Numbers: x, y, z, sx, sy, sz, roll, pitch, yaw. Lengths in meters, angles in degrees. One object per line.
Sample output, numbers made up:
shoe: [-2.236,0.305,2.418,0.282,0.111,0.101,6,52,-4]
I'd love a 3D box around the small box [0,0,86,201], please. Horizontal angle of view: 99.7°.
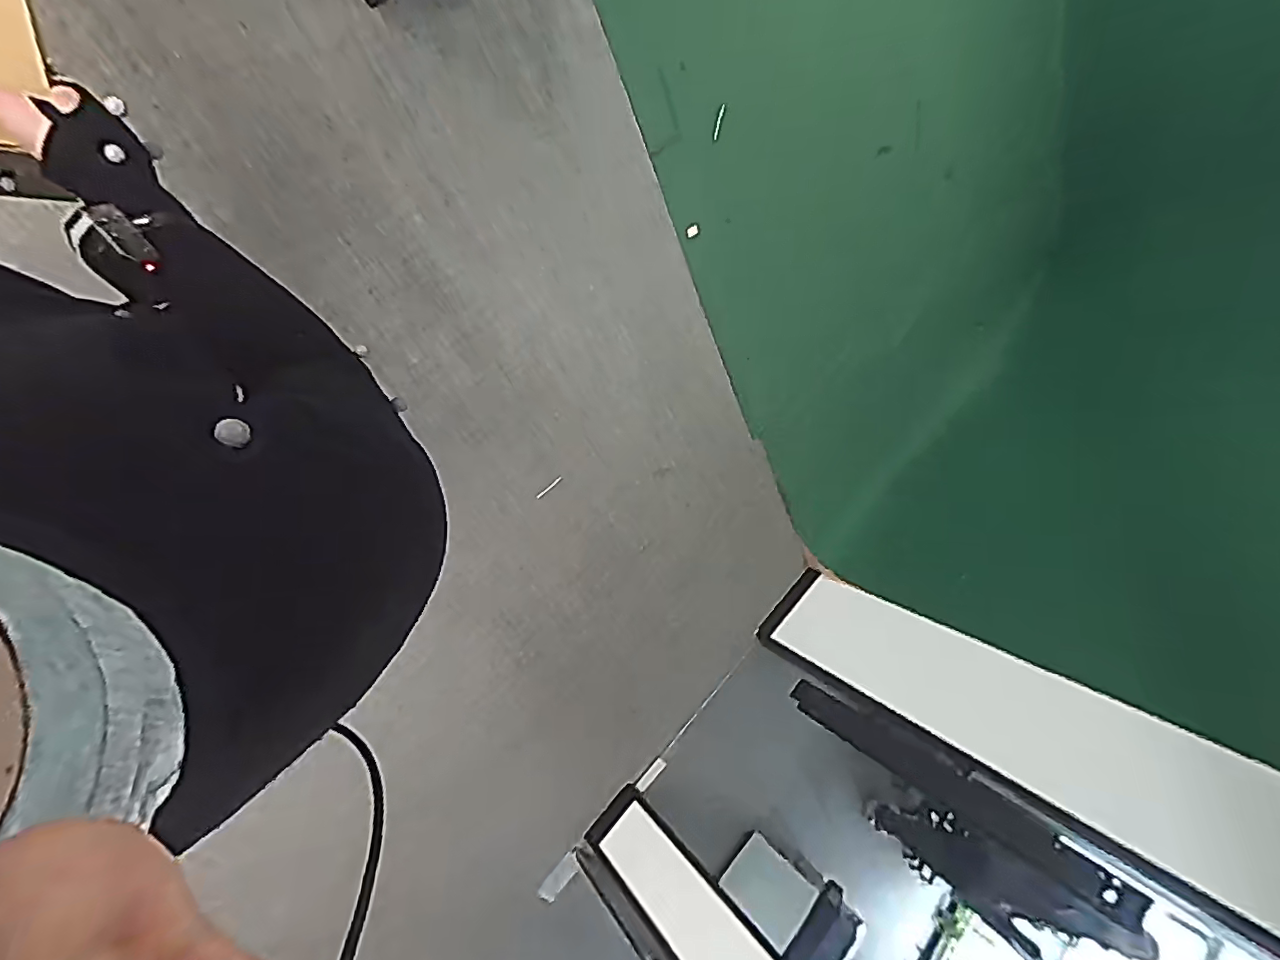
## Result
small box: [-0.615,-0.359,0.463,0.168,0.176,0.179,-16,106,-40]
